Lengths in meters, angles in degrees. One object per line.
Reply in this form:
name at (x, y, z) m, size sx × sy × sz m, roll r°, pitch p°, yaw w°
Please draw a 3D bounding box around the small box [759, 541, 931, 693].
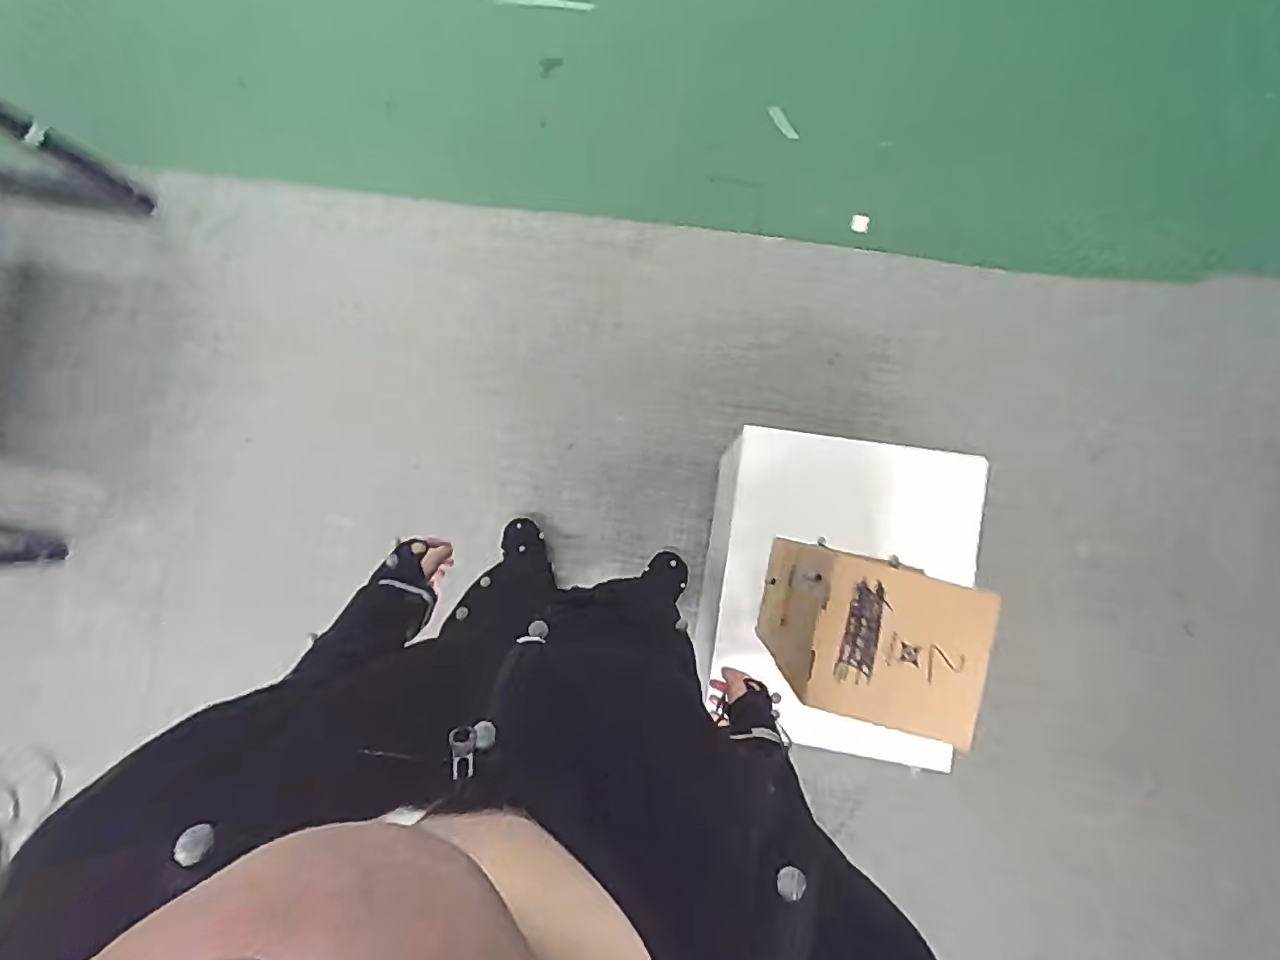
small box at (0.286, 0.186, 0.789) m, size 0.179 × 0.176 × 0.168 m, roll 12°, pitch 86°, yaw 5°
